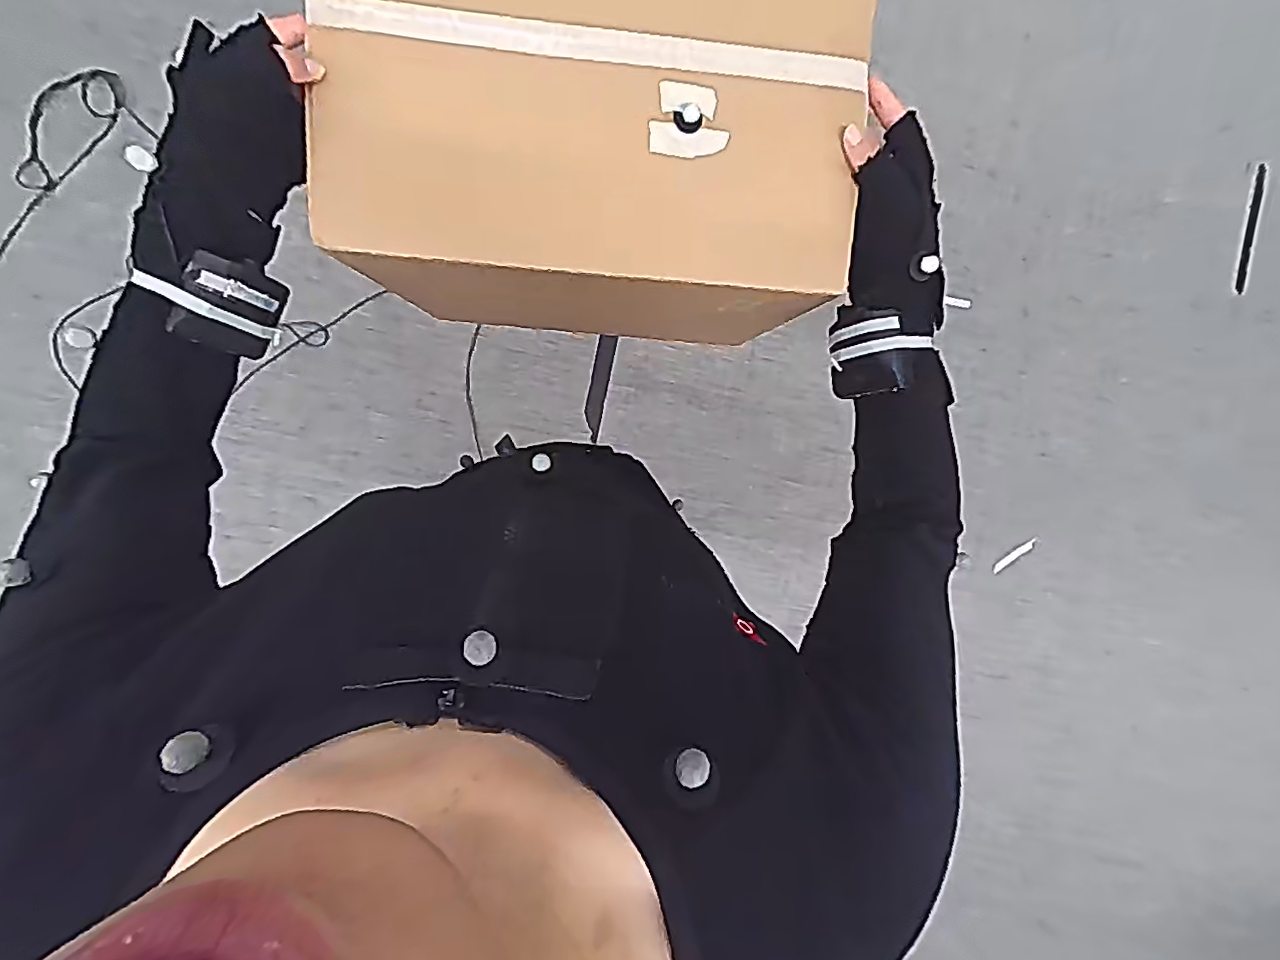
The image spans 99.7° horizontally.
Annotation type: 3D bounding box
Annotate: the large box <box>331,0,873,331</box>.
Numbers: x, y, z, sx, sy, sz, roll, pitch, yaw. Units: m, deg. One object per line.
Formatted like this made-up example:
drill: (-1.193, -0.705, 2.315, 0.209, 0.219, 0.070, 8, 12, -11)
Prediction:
large box: (-0.037, -0.340, 0.549, 0.408, 0.320, 0.320, 3, 98, -6)
